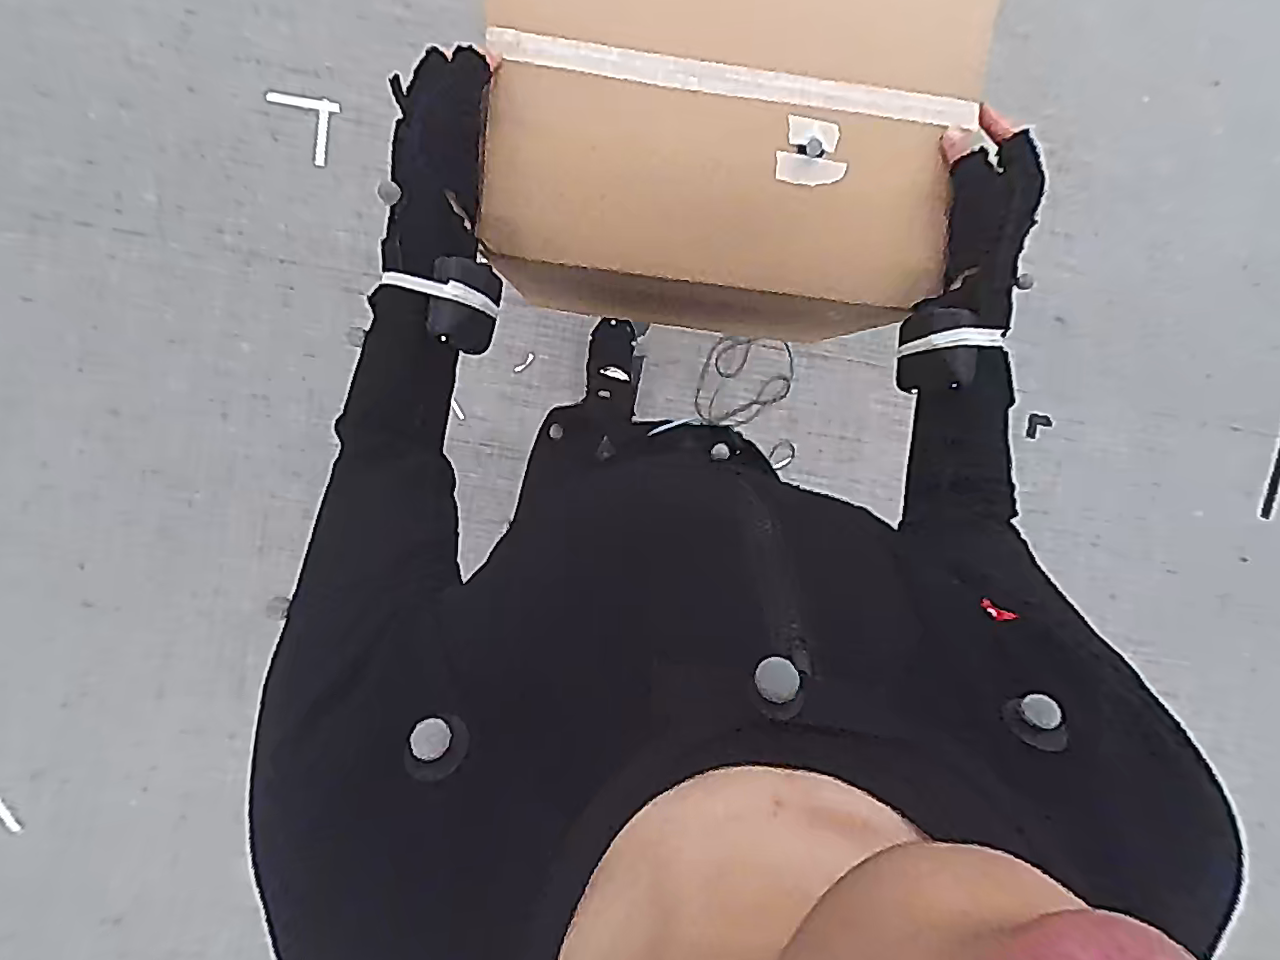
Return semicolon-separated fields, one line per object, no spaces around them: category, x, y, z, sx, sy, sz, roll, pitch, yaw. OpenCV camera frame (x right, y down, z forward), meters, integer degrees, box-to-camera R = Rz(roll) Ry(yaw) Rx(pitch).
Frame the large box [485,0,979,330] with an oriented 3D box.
large box;0.068;-0.360;0.600;0.408;0.320;0.320;6;100;-4
